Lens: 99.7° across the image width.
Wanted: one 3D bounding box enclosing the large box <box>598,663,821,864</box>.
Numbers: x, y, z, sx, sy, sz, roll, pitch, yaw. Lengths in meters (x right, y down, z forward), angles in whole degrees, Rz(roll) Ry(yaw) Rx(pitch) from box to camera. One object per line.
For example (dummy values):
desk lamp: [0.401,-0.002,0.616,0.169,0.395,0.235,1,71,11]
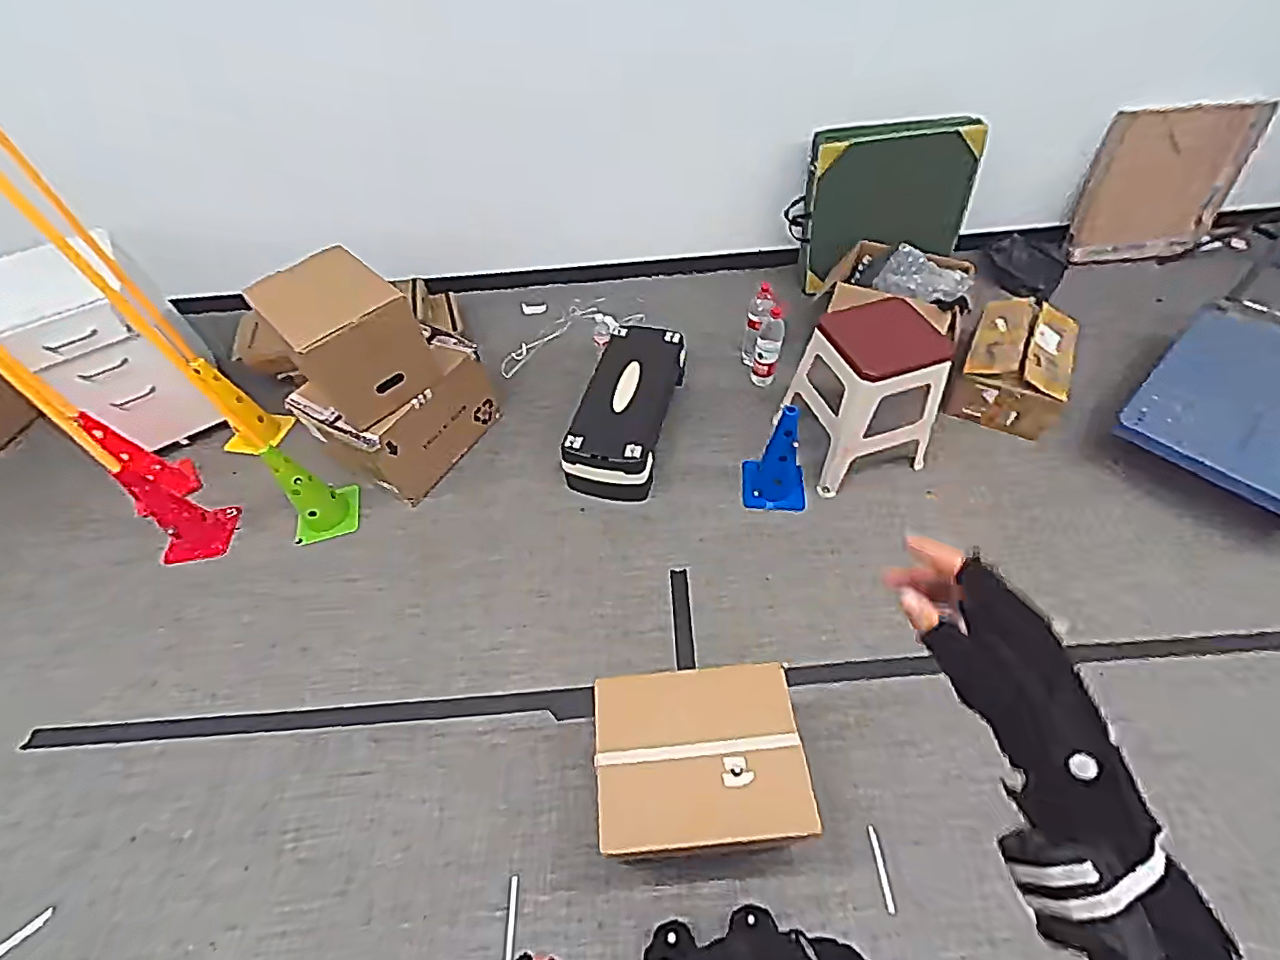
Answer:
large box: [0.124,0.623,1.181,0.408,0.320,0.320,-5,53,-1]
